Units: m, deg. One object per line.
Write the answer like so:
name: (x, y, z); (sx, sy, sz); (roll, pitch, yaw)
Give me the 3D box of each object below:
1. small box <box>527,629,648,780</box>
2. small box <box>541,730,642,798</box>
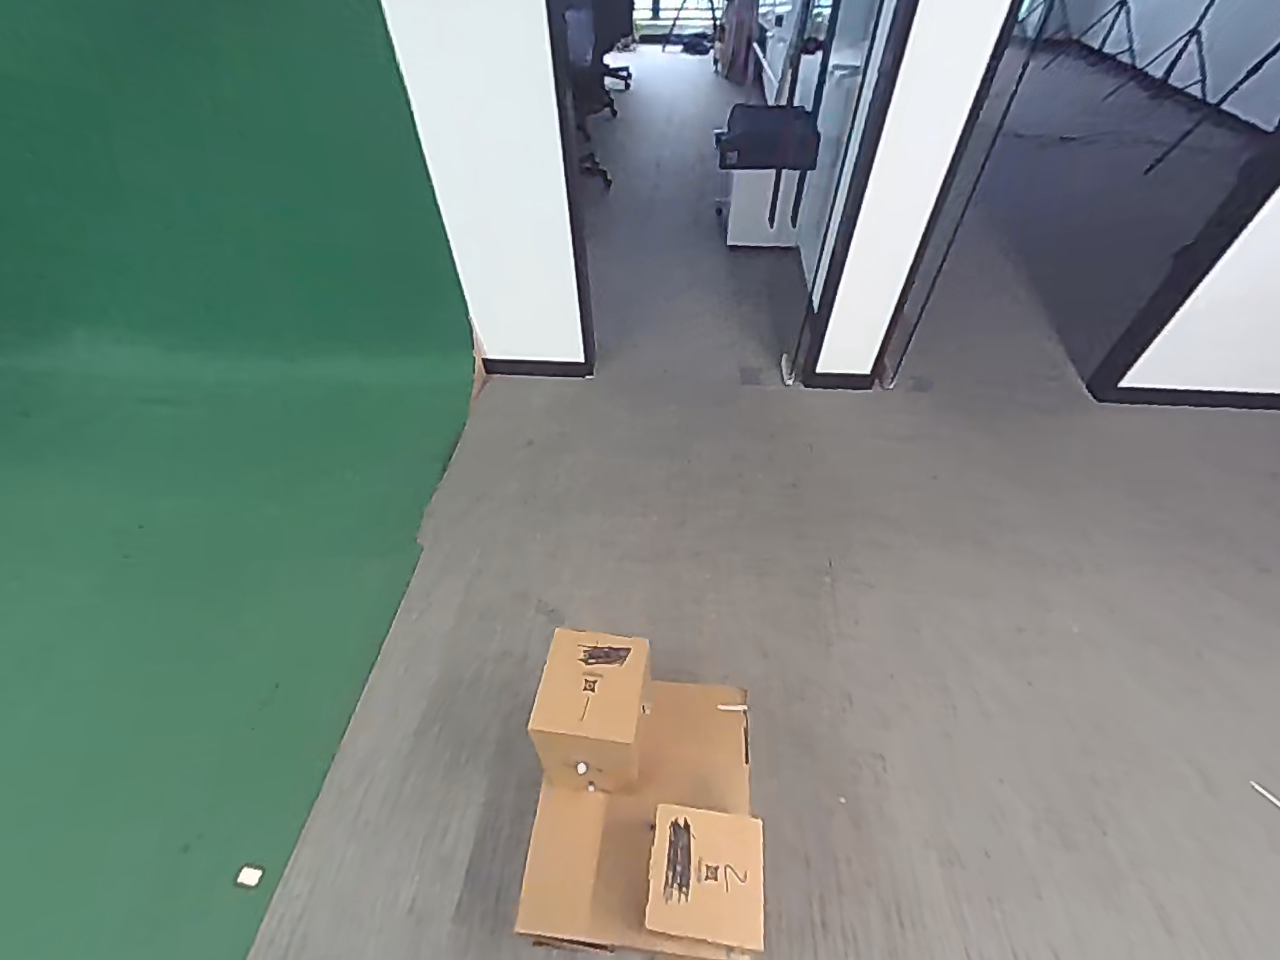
small box: (-0.080, 0.384, 0.926); (0.168, 0.176, 0.179); (5, 45, 7)
small box: (-0.084, 0.490, 1.053); (0.168, 0.176, 0.179); (4, 45, 5)
